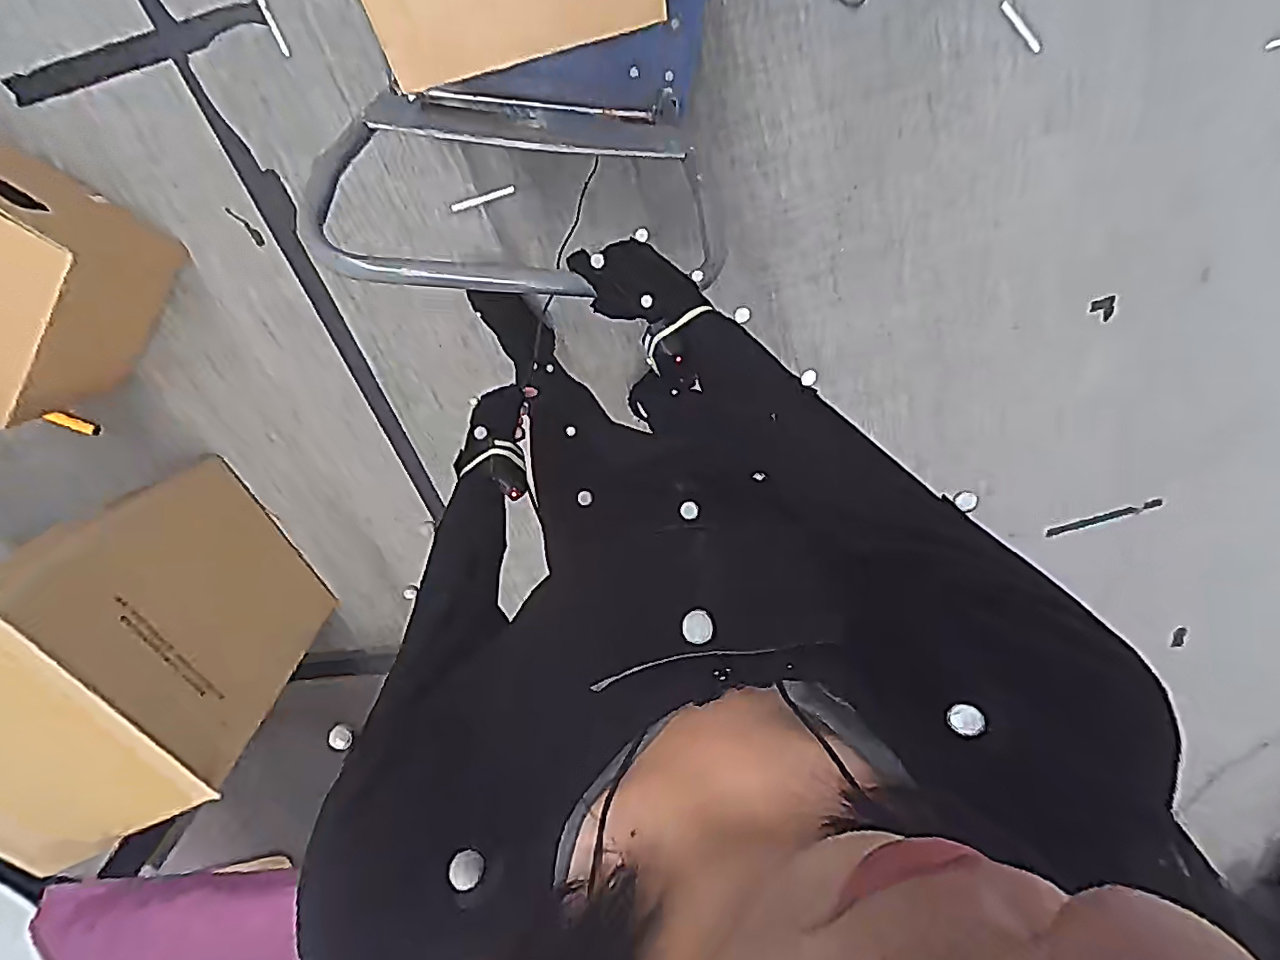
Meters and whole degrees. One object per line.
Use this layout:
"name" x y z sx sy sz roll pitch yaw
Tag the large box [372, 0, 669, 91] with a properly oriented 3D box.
"large box" -0.198 -0.829 0.785 0.408 0.320 0.320 -13 135 5
